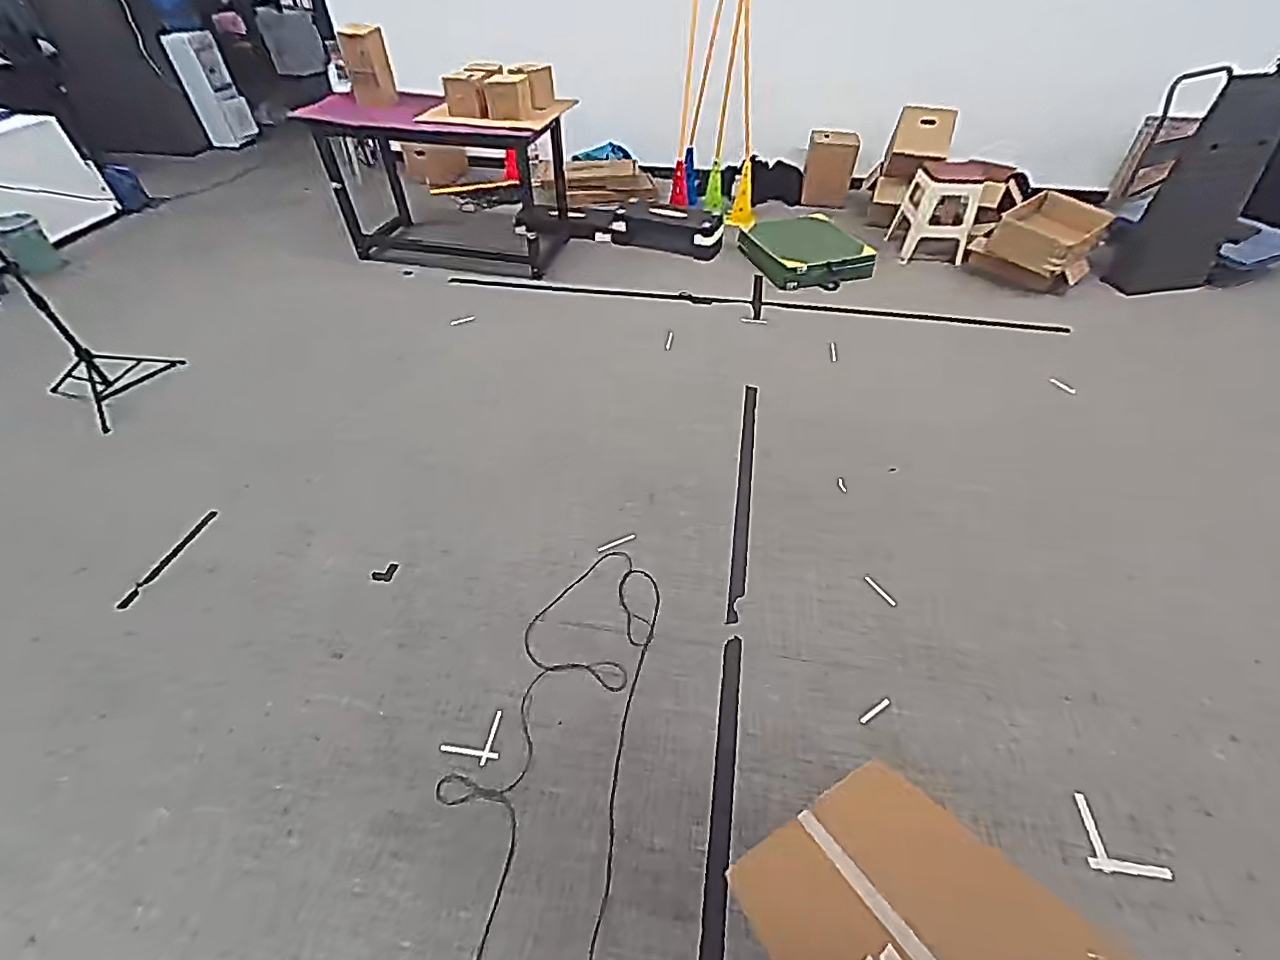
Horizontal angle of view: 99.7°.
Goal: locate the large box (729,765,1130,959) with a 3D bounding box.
[{"bbox_3d":[0.383,0.680,0.703,0.320,0.408,0.320,-31,97,-11],"label":"large box"}]
